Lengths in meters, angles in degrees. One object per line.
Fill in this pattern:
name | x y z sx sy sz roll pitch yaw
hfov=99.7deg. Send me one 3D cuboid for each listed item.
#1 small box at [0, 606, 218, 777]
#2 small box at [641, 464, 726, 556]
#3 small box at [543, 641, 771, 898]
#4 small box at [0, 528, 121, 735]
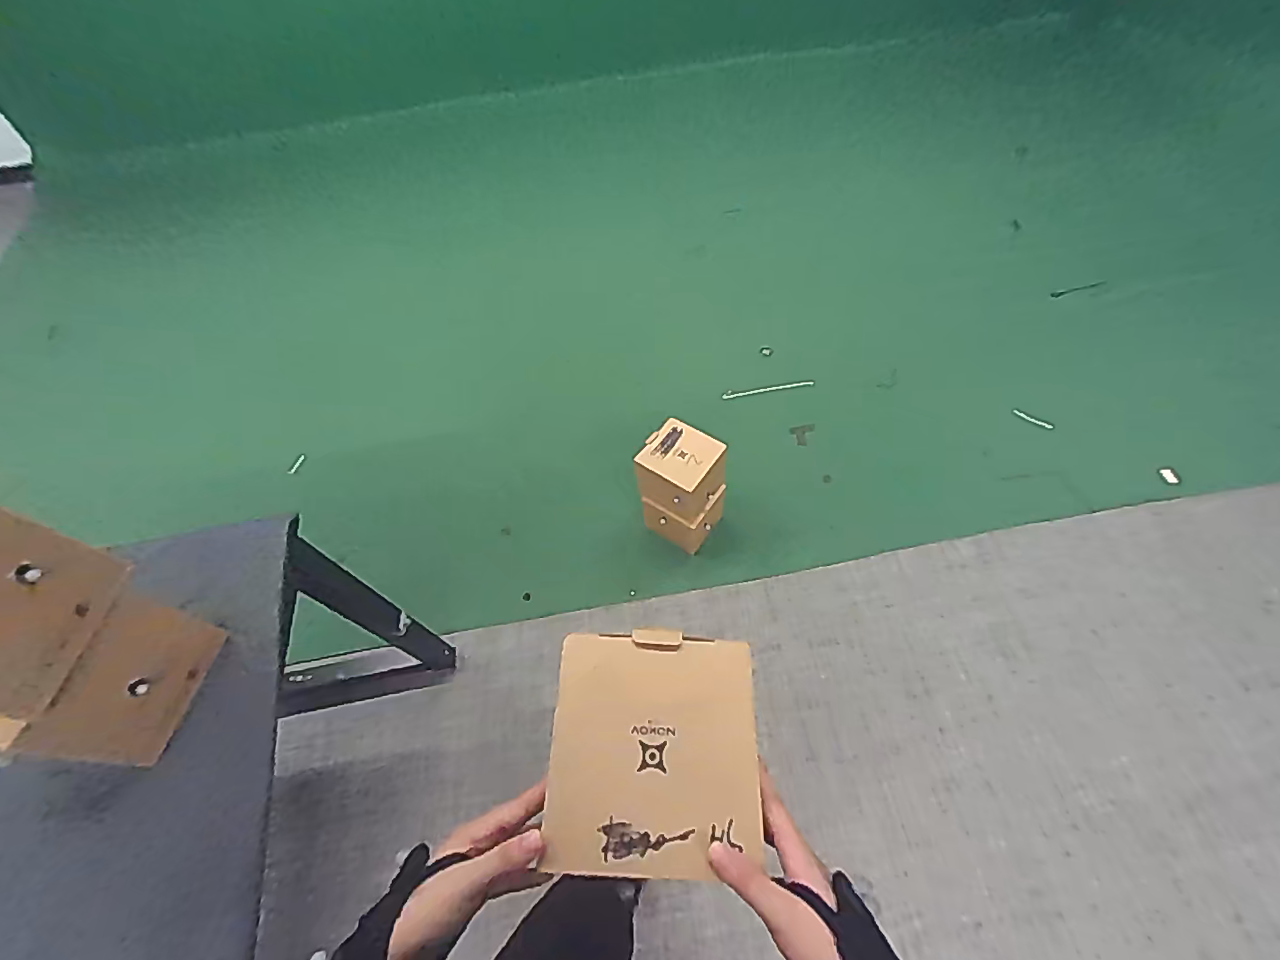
small box | -0.658 0.237 0.630 0.179 0.176 0.168 5 58 11
small box | 0.125 0.094 1.529 0.179 0.176 0.168 30 65 22
small box | 0.015 0.262 0.494 0.168 0.176 0.179 2 57 1
small box | -0.666 0.133 0.504 0.179 0.176 0.168 1 56 9
